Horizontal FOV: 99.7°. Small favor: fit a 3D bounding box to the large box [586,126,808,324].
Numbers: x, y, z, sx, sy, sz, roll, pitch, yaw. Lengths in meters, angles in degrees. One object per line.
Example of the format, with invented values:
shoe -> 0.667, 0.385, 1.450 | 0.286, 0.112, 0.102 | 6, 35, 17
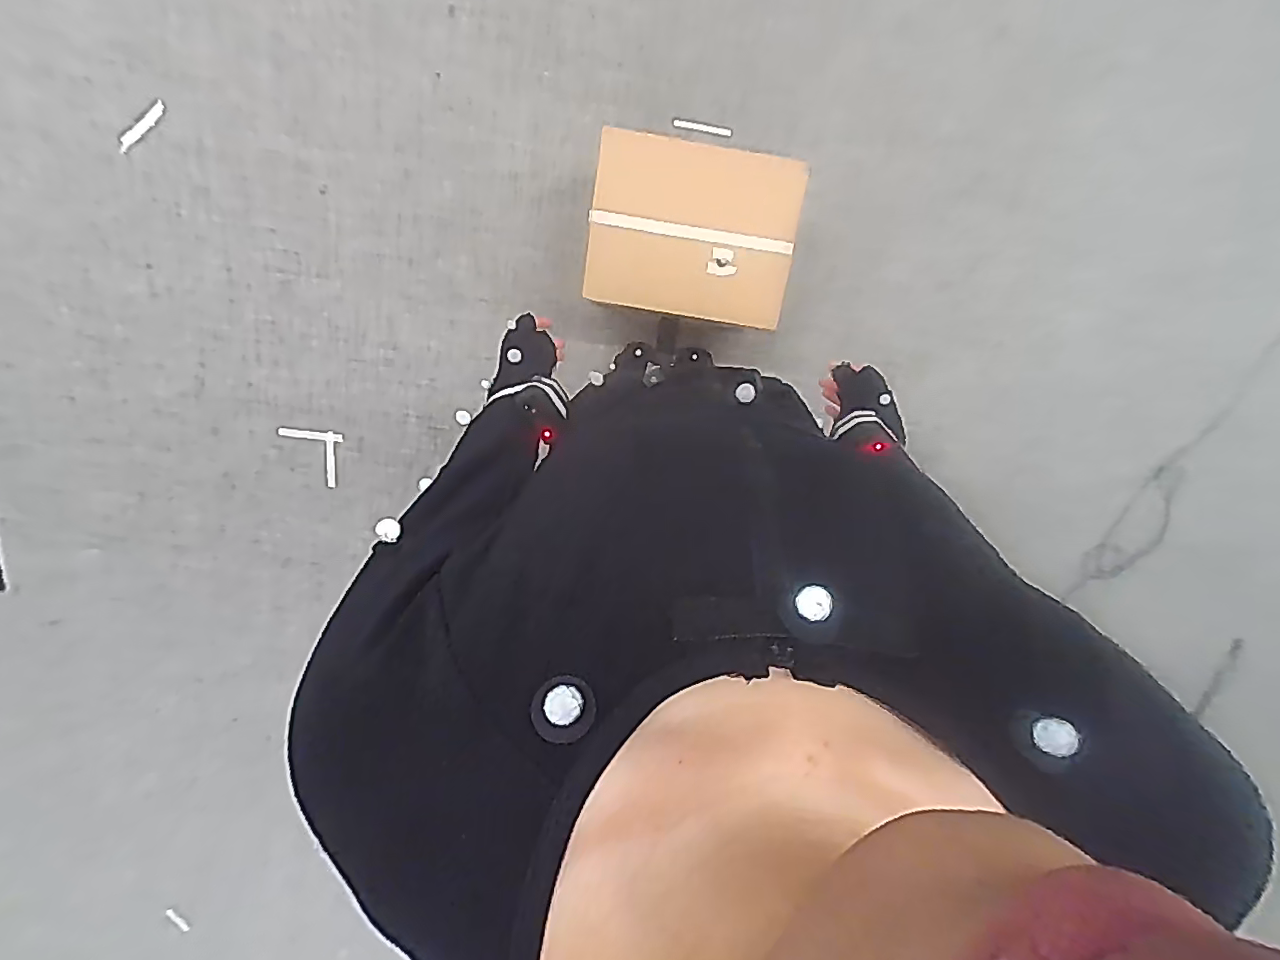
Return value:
large box -> 0.100, -0.532, 1.200 | 0.408, 0.320, 0.320 | 8, 106, -3
